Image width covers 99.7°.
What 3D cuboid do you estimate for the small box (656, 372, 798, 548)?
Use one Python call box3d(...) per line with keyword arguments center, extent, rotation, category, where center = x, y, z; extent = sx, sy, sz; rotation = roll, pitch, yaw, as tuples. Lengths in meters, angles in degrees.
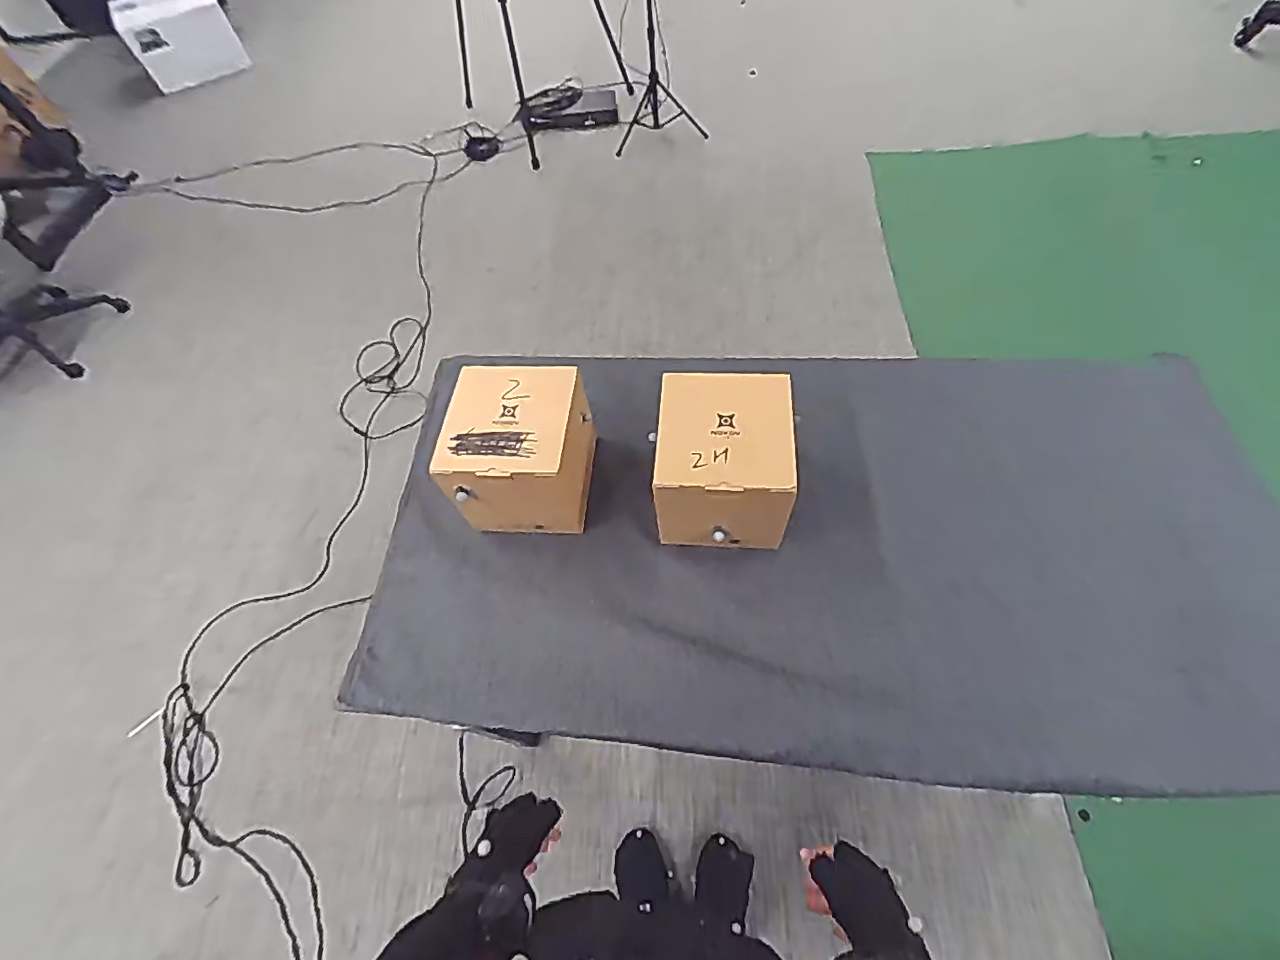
box3d(center=(0.113, -0.025, 0.732), extent=(0.168, 0.176, 0.179), rotation=(2, 60, 7), category="small box")
